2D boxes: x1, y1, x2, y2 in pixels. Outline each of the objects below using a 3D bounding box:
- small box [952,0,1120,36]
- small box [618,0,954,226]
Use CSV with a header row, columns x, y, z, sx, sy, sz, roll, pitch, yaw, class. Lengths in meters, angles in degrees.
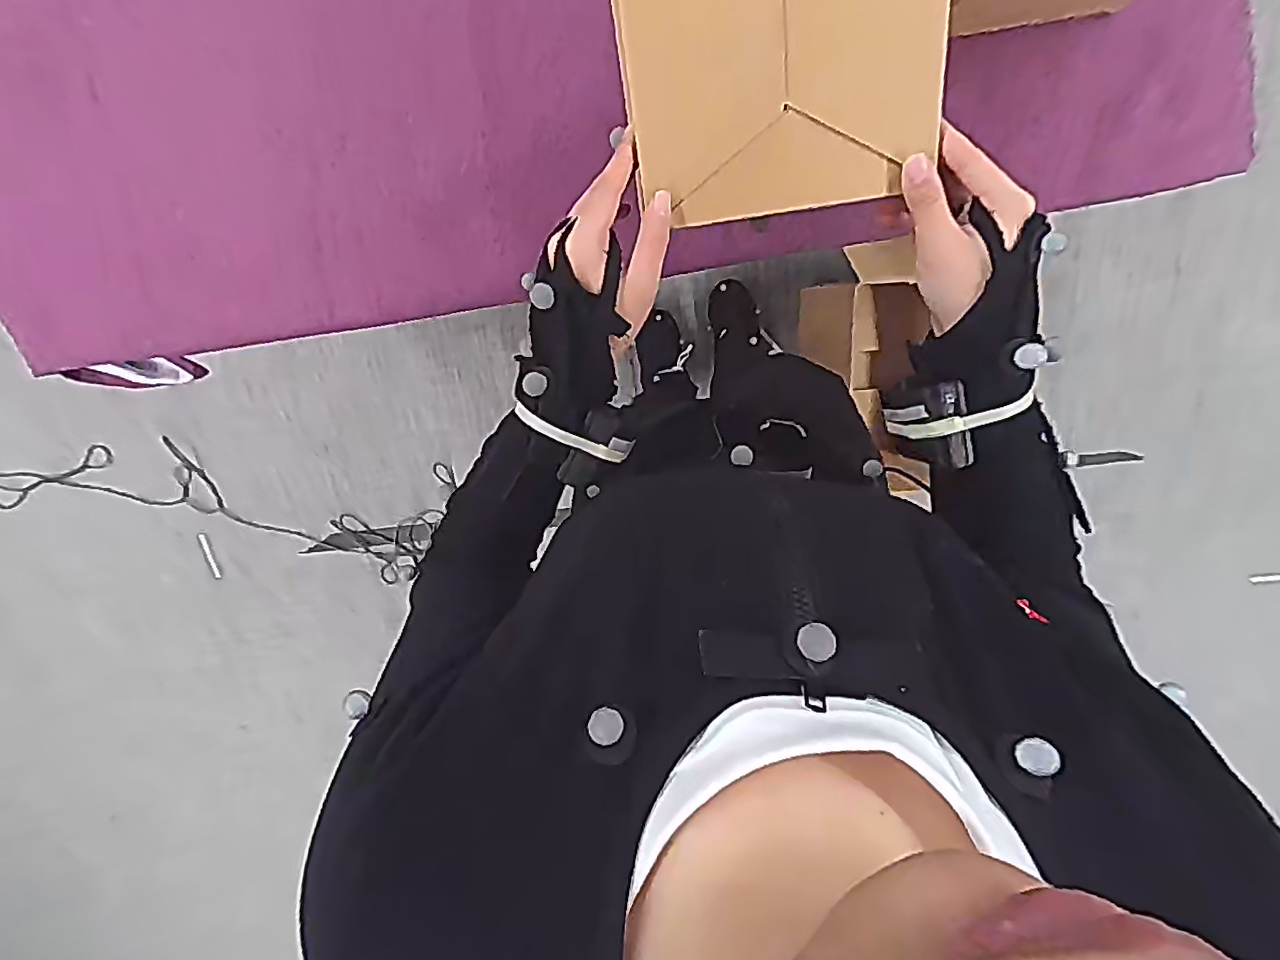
x,y,z,sx,sy,sz,roll,pitch,yaw,class
0.333,-0.466,0.394,0.179,0.176,0.168,-6,106,4,small box
0.081,-0.276,0.365,0.179,0.176,0.168,-8,116,4,small box
